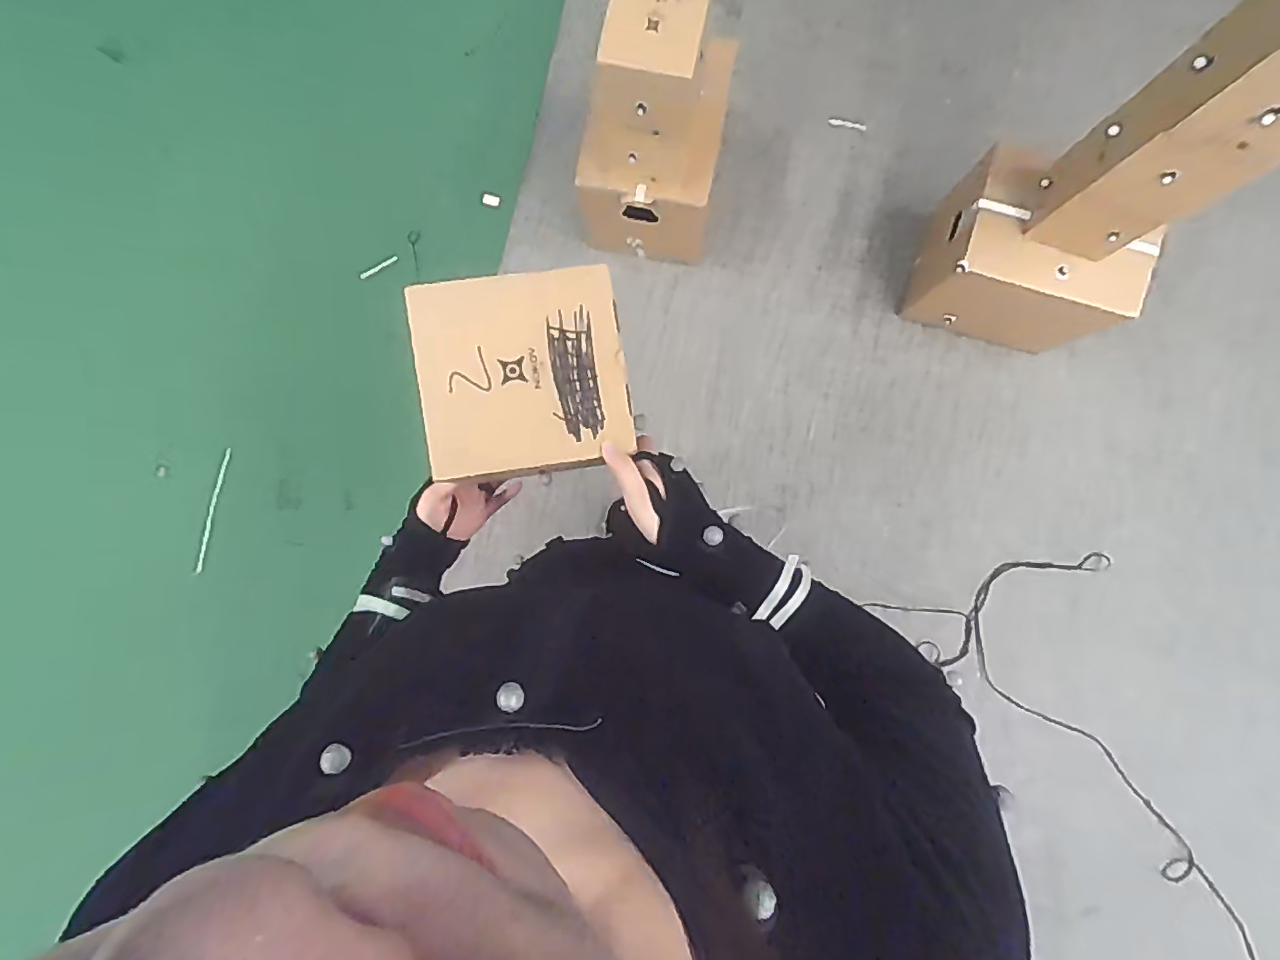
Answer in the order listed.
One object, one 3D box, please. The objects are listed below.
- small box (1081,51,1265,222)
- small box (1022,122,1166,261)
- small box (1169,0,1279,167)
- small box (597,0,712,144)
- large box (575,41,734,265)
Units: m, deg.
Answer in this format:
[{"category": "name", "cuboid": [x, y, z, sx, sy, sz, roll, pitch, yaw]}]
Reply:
[{"category": "small box", "cuboid": [0.947, -0.589, 0.952, 0.179, 0.176, 0.168, 22, 86, 3]}, {"category": "small box", "cuboid": [0.949, -0.582, 1.117, 0.179, 0.176, 0.168, 21, 86, 3]}, {"category": "small box", "cuboid": [0.943, -0.603, 0.789, 0.168, 0.176, 0.179, 22, 87, 2]}, {"category": "small box", "cuboid": [0.029, -0.756, 0.984, 0.168, 0.176, 0.179, 13, 87, 2]}, {"category": "large box", "cuboid": [0.040, -0.829, 1.396, 0.320, 0.320, 0.408, 11, 87, 2]}]
